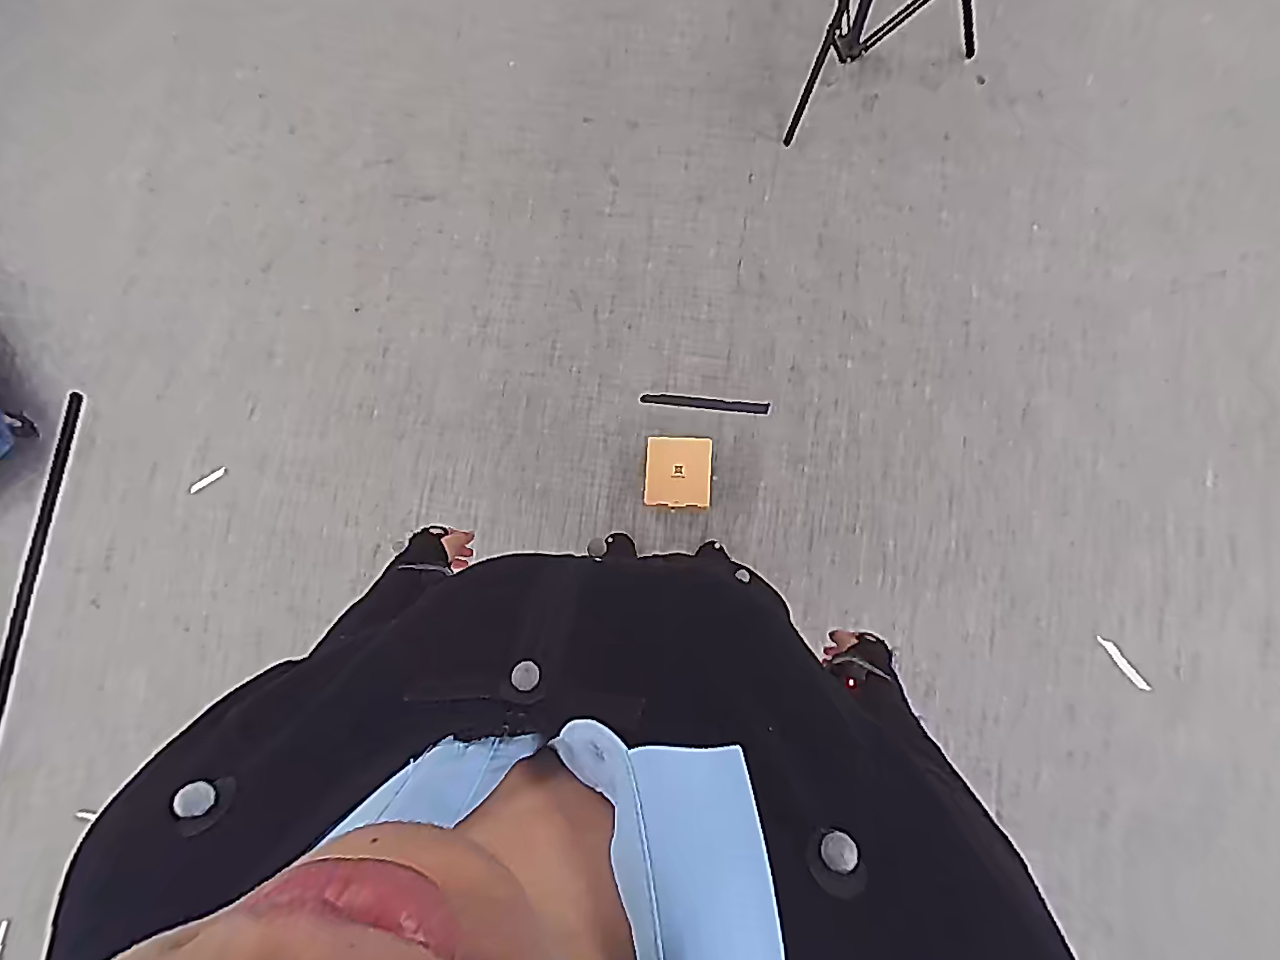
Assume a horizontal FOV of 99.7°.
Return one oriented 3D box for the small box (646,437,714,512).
[{"bbox_3d":[0.107,-0.010,1.437,0.168,0.176,0.179,2,84,6],"label":"small box"}]
